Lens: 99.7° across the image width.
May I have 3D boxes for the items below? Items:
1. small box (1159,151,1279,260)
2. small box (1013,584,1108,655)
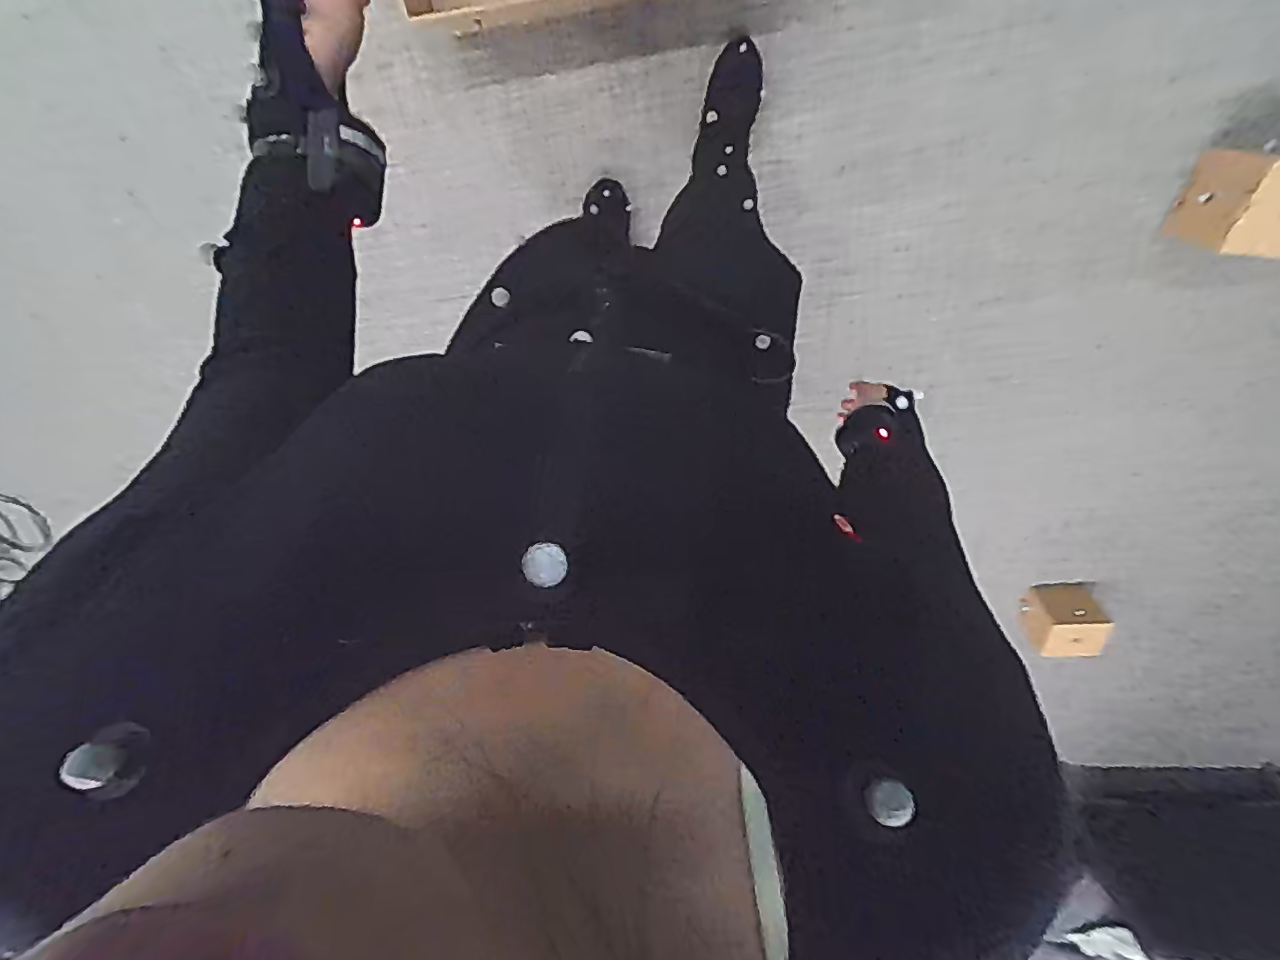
[{"bbox_3d":[1.210,-0.546,1.071,0.179,0.176,0.168,5,127,2],"label":"small box"},{"bbox_3d":[1.413,0.469,1.830,0.179,0.176,0.168,-5,125,9],"label":"small box"}]
